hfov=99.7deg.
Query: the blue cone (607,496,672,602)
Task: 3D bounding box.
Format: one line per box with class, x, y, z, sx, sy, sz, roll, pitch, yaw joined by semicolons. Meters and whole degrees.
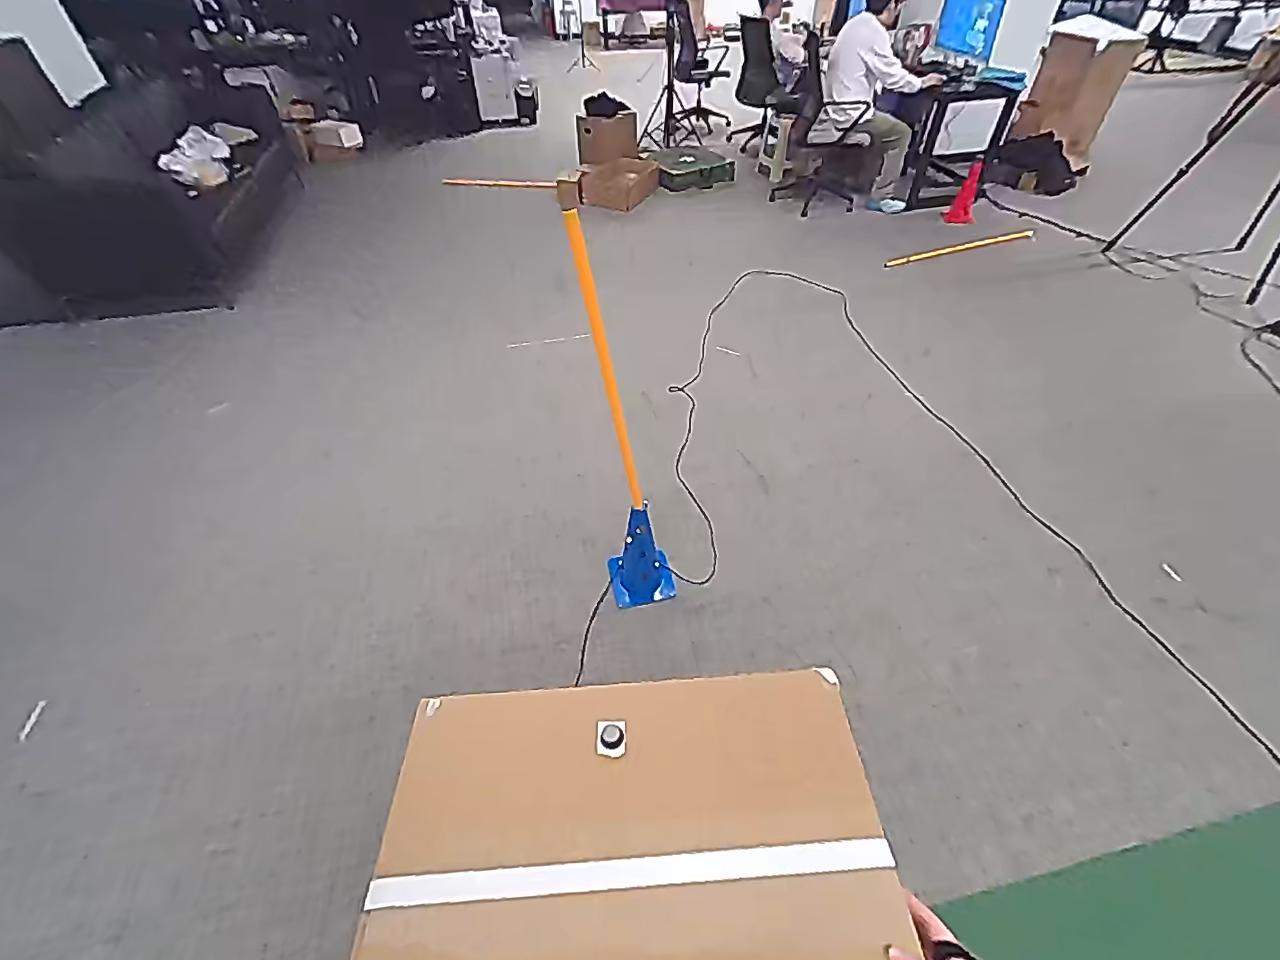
blue cone;-0.007;0.195;1.653;0.193;0.380;0.192;-12;46;-9
